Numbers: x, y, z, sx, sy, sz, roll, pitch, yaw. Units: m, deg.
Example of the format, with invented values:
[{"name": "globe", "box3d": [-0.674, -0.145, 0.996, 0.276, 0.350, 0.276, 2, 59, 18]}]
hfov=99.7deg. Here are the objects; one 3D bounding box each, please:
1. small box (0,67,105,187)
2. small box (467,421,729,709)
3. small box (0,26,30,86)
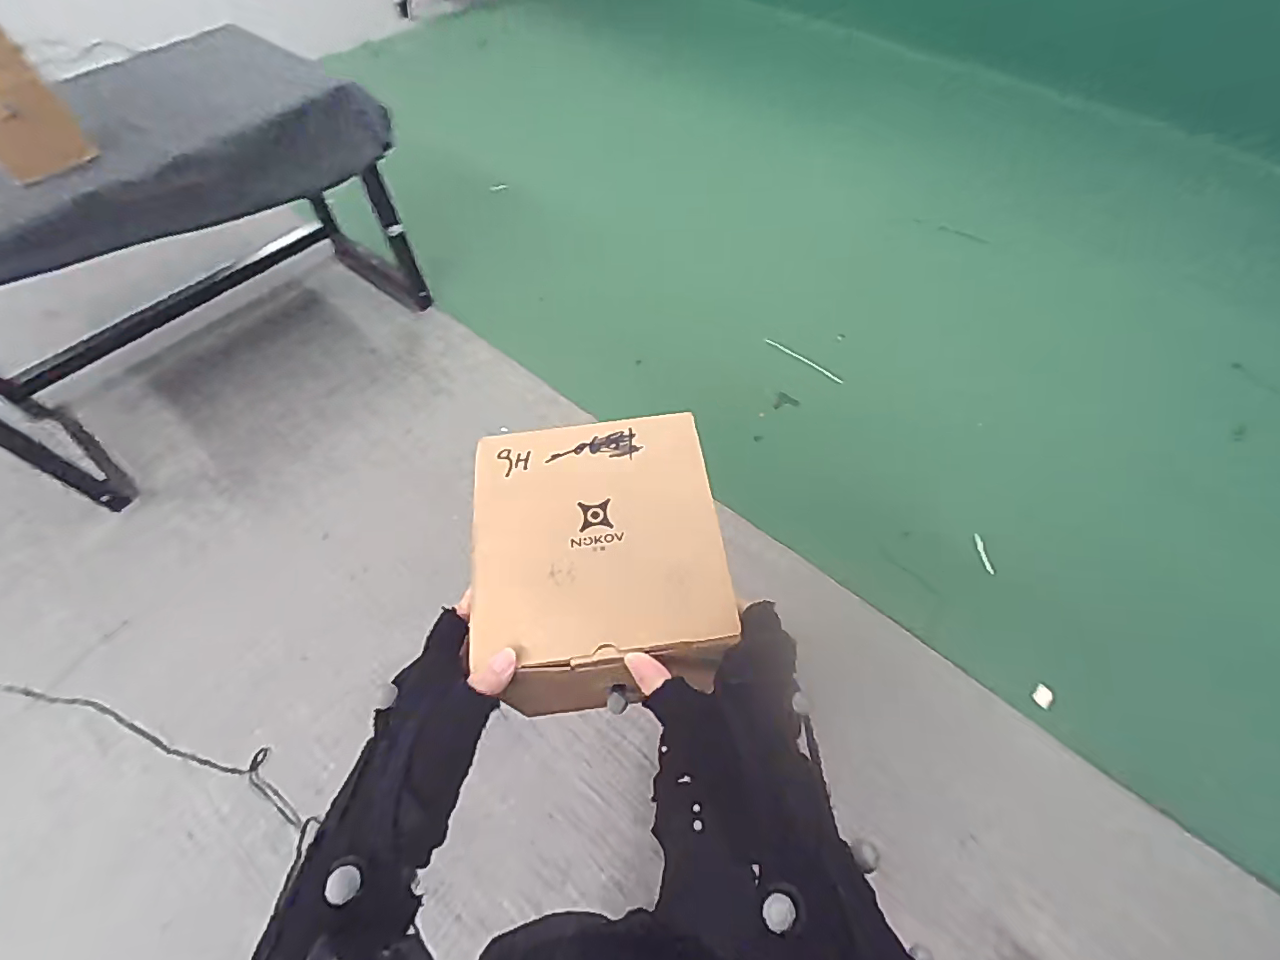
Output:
[{"name": "small box", "box3d": [-1.330, -0.764, 1.158, 0.168, 0.176, 0.179, 36, 63, 19]}, {"name": "small box", "box3d": [-0.032, 0.079, 0.437, 0.168, 0.176, 0.179, -8, 60, -3]}, {"name": "small box", "box3d": [-1.333, -0.853, 1.020, 0.168, 0.176, 0.179, 34, 65, 19]}]
